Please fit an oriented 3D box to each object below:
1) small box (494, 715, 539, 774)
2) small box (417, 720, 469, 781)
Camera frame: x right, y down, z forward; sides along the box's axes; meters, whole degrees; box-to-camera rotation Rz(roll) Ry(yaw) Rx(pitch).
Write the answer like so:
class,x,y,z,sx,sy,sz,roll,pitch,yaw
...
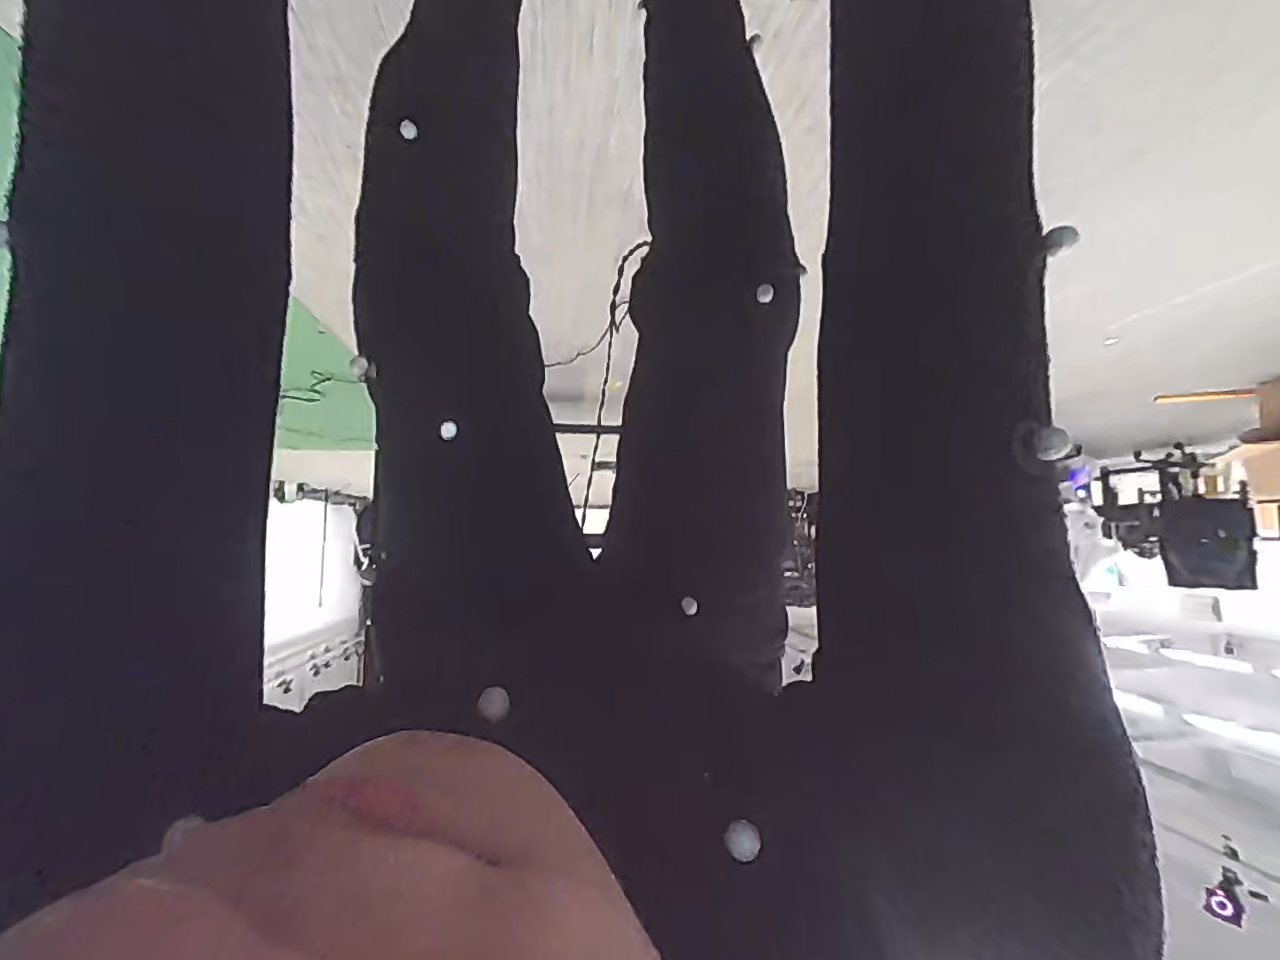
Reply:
class,x,y,z,sx,sy,sz,roll,pitch,yaw
small box,-0.506,1.084,2.230,0.179,0.176,0.168,1,175,-10
small box,-0.793,1.083,2.181,0.179,0.176,0.168,-1,174,-9
